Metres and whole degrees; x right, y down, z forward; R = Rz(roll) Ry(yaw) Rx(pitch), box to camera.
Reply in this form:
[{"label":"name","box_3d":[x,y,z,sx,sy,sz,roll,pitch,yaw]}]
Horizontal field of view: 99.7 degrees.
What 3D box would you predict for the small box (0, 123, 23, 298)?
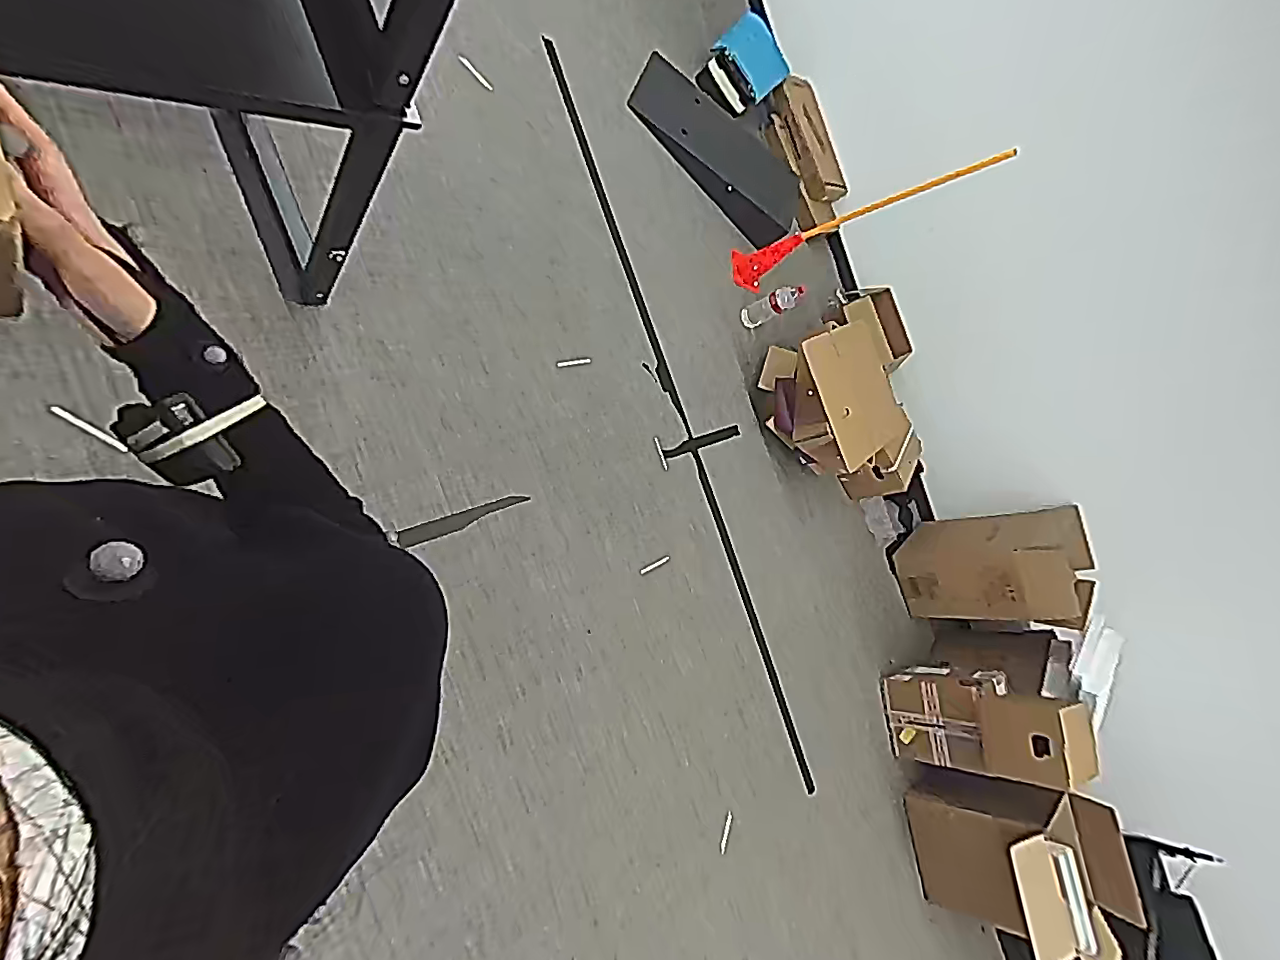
[{"label":"small box","box_3d":[-0.410,-0.187,0.236,0.168,0.176,0.179,-15,100,-49]}]
